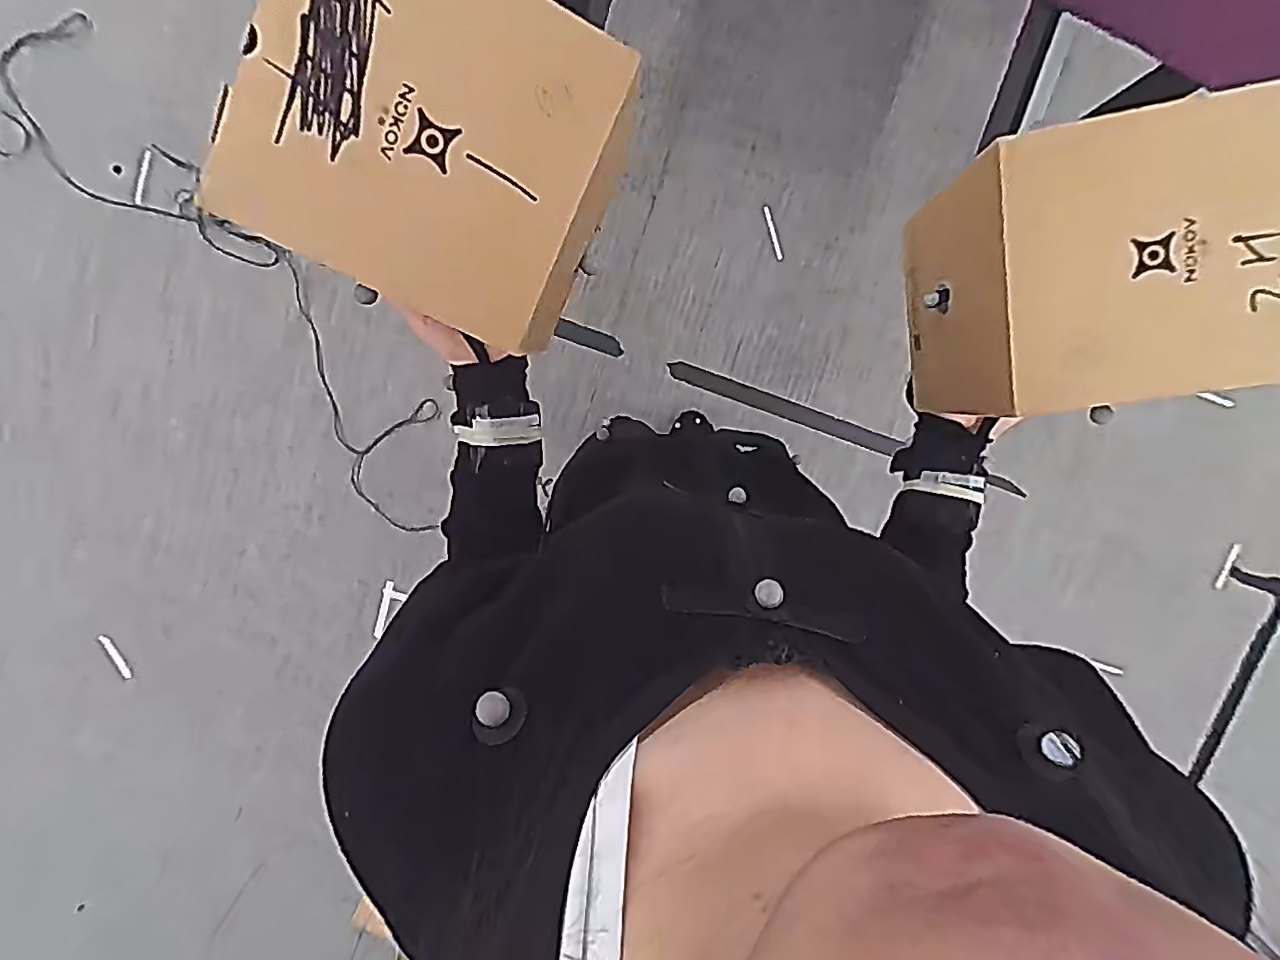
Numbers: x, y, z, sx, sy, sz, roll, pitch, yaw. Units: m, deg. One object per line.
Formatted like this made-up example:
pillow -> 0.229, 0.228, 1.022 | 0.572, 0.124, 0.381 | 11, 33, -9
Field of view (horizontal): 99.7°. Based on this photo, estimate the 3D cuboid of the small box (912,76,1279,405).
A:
small box -> 0.315, -0.146, 0.393 | 0.179, 0.176, 0.168 | -7, 98, 8

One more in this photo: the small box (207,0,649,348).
small box -> -0.113, -0.196, 0.349 | 0.179, 0.176, 0.168 | 24, 102, -10
